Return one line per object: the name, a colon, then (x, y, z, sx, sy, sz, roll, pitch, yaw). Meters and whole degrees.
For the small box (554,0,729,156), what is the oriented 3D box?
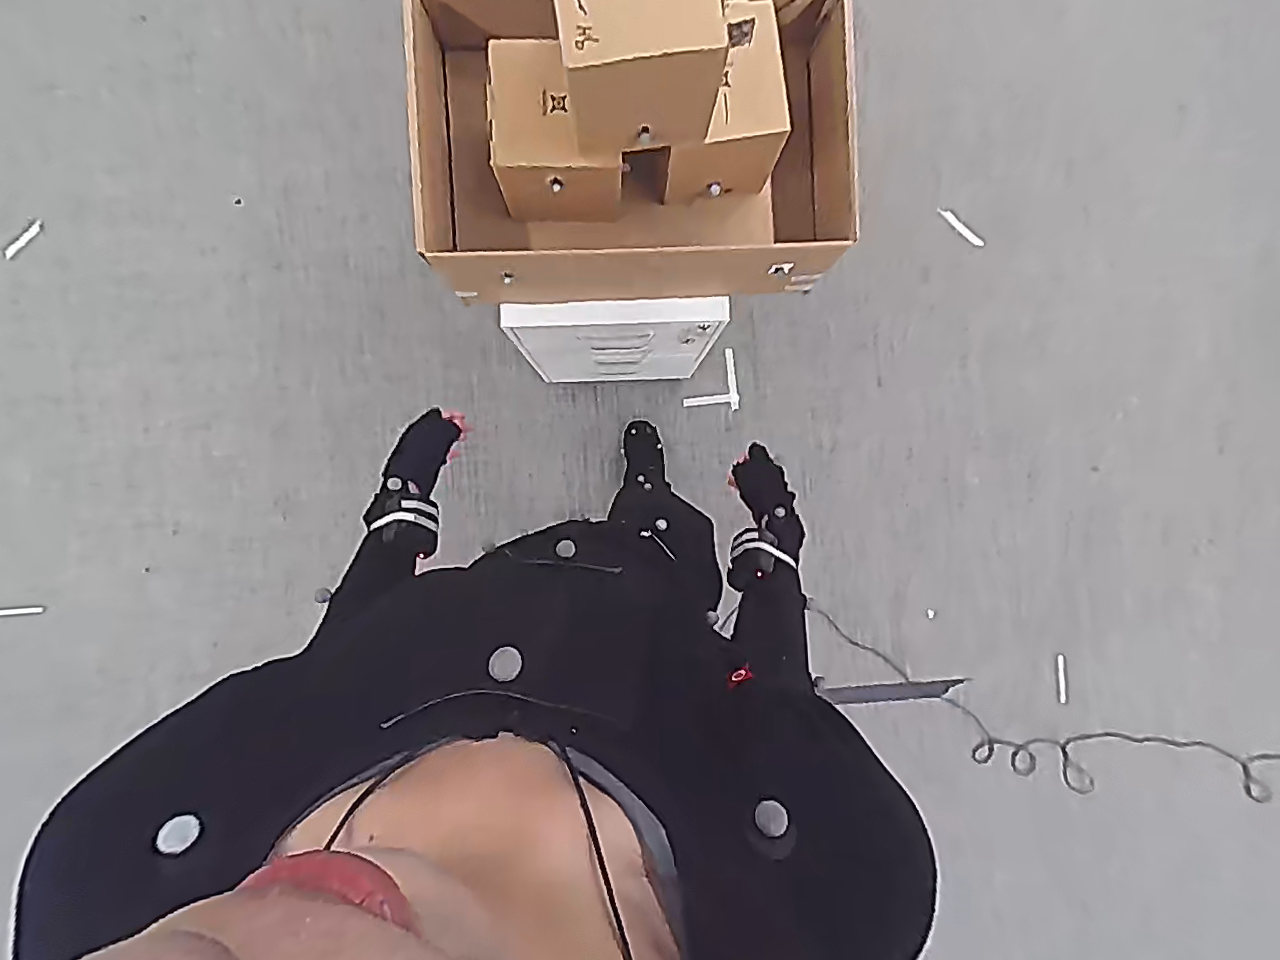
small box: (-0.007, -0.516, 0.638, 0.179, 0.176, 0.168, -8, 92, -2)
